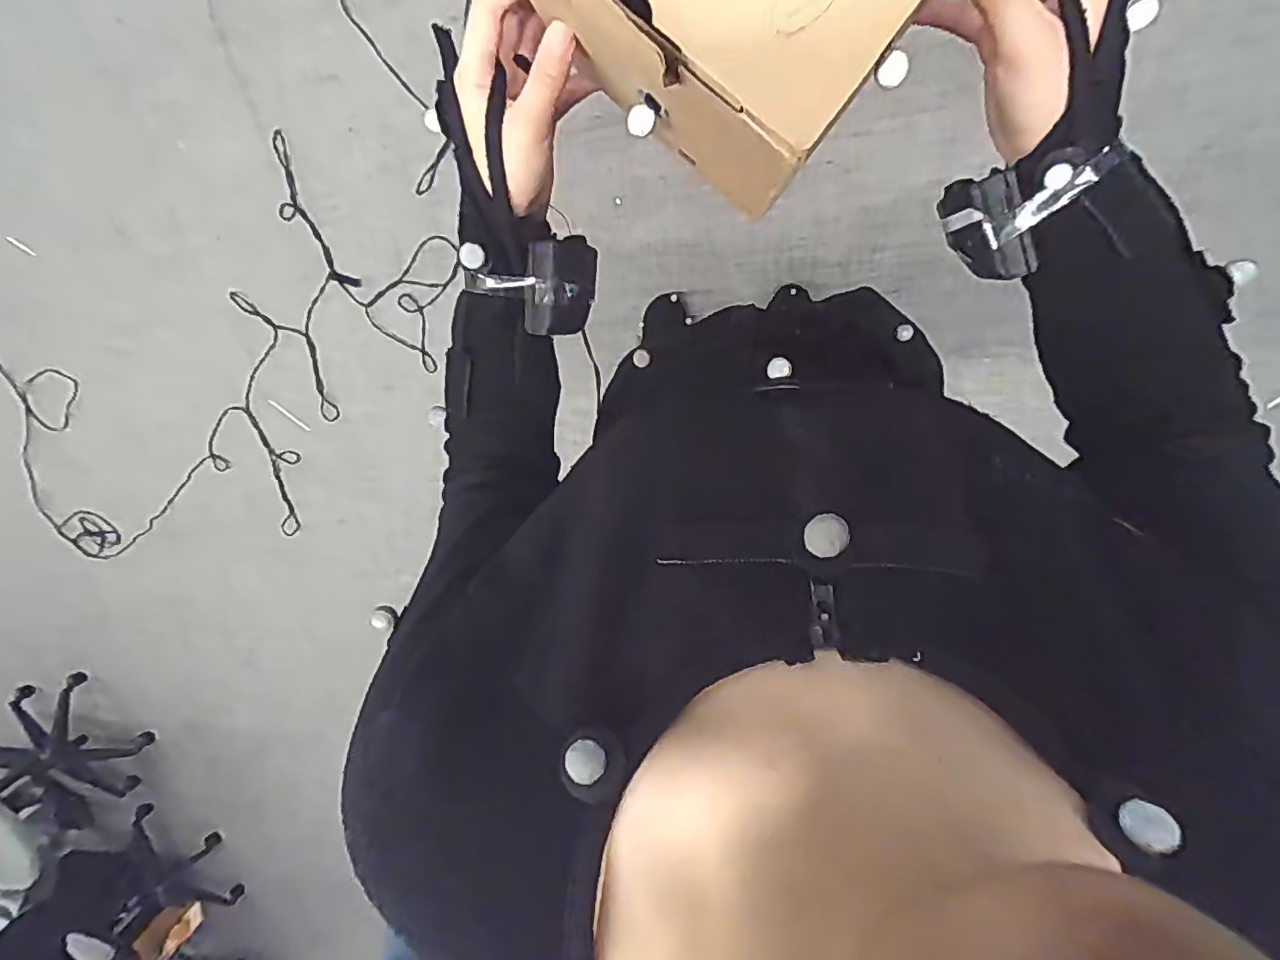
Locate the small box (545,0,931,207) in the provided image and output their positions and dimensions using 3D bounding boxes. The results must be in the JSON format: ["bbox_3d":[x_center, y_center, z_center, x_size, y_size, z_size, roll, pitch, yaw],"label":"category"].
[{"bbox_3d":[0.059,-0.264,0.260,0.168,0.176,0.179,38,109,-6],"label":"small box"}]
